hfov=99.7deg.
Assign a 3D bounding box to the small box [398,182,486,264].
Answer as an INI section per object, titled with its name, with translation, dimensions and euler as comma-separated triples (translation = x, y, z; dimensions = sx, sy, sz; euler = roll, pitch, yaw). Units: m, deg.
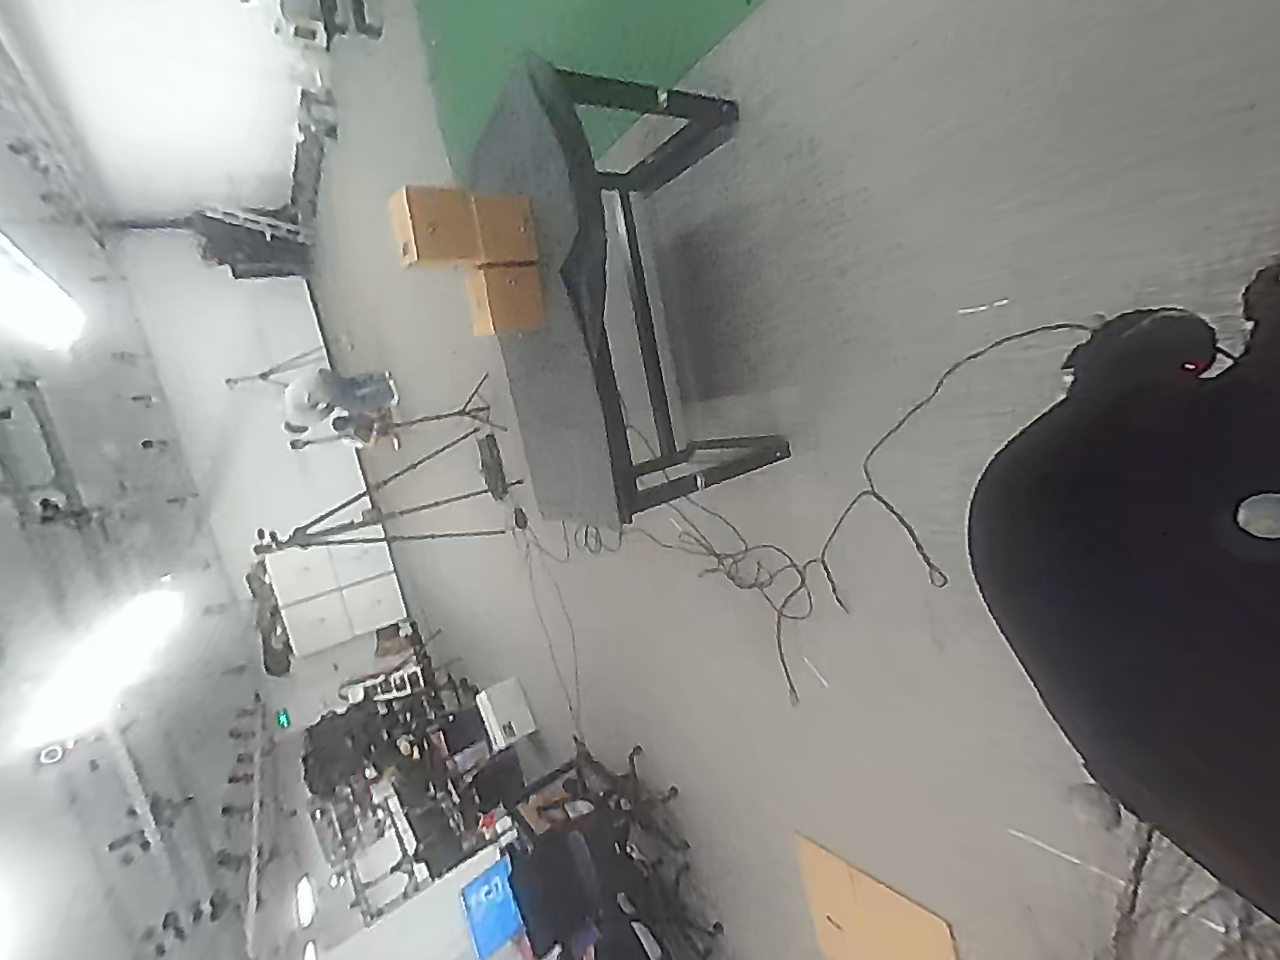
[small box]
translation = -0.527, -0.686, 1.451
dimensions = 0.168, 0.176, 0.179
euler = 18, 118, 51
